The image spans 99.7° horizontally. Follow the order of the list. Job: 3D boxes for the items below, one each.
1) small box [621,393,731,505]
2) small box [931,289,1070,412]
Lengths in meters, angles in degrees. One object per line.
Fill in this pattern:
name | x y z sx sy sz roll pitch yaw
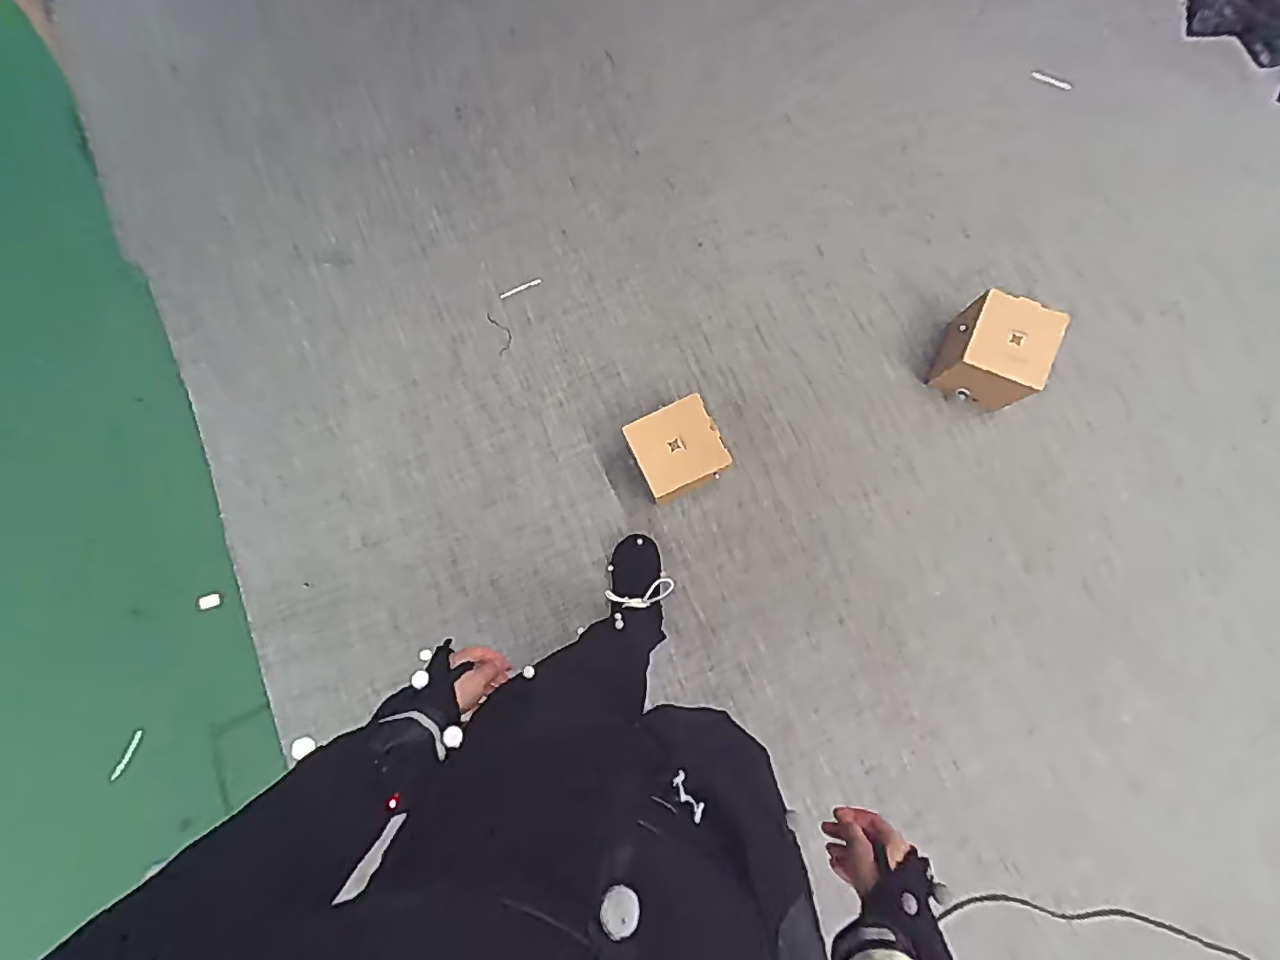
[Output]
small box | 0.077 -0.057 1.163 0.179 0.176 0.168 -26 81 -2
small box | 0.761 -0.270 1.161 0.168 0.176 0.179 23 84 7
